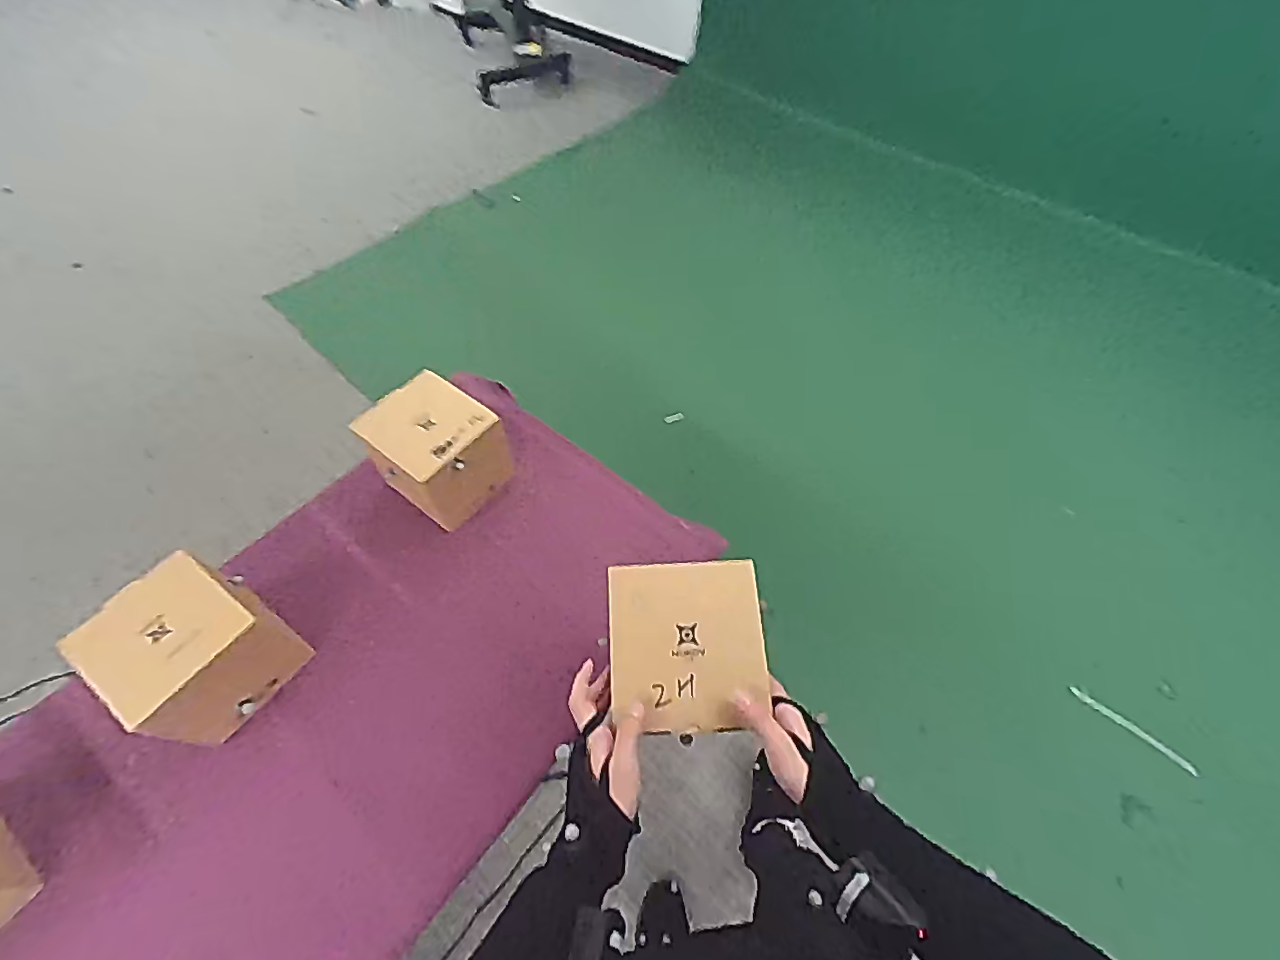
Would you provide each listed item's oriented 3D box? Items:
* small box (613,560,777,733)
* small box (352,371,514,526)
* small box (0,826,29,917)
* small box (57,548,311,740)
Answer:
[{"bbox_3d":[0.055,0.202,0.642,0.168,0.176,0.179,-2,67,1],"label":"small box"},{"bbox_3d":[-0.347,-0.049,0.938,0.179,0.176,0.168,33,63,19],"label":"small box"},{"bbox_3d":[-0.850,0.464,0.585,0.179,0.176,0.168,31,61,18],"label":"small box"},{"bbox_3d":[-0.610,0.232,0.747,0.179,0.176,0.168,32,62,17],"label":"small box"}]
